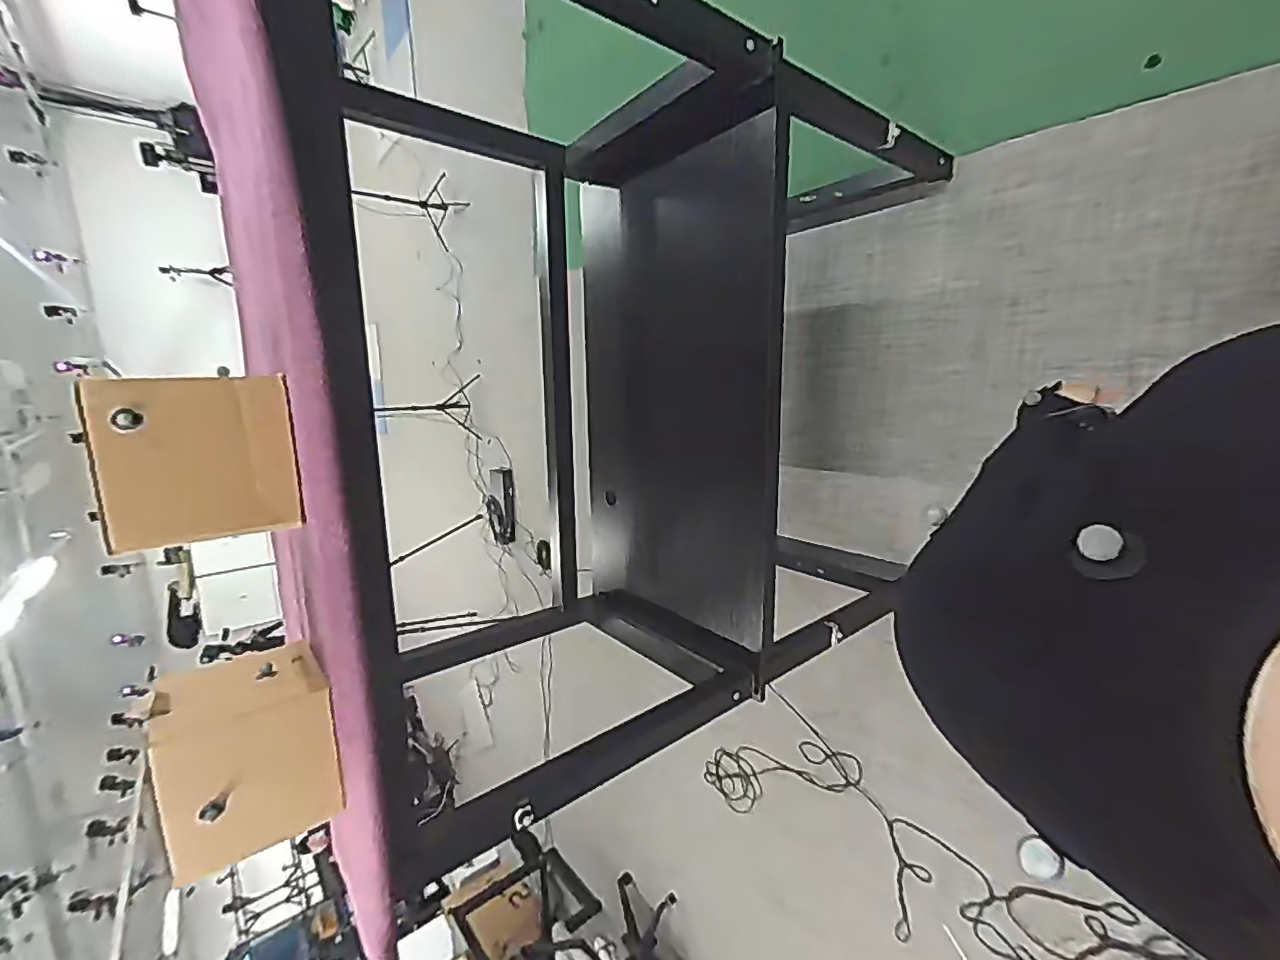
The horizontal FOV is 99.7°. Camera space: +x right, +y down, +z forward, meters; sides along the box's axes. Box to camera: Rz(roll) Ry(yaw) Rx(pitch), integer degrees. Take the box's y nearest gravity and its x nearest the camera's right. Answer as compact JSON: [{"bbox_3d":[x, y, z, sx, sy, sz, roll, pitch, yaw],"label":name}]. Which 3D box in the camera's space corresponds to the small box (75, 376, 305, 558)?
[{"bbox_3d":[-0.499,-0.028,0.624,0.168,0.176,0.179,12,106,52],"label":"small box"}]

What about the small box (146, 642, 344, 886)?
[{"bbox_3d":[-0.481,0.331,0.672,0.168,0.176,0.179,10,105,49],"label":"small box"}]
